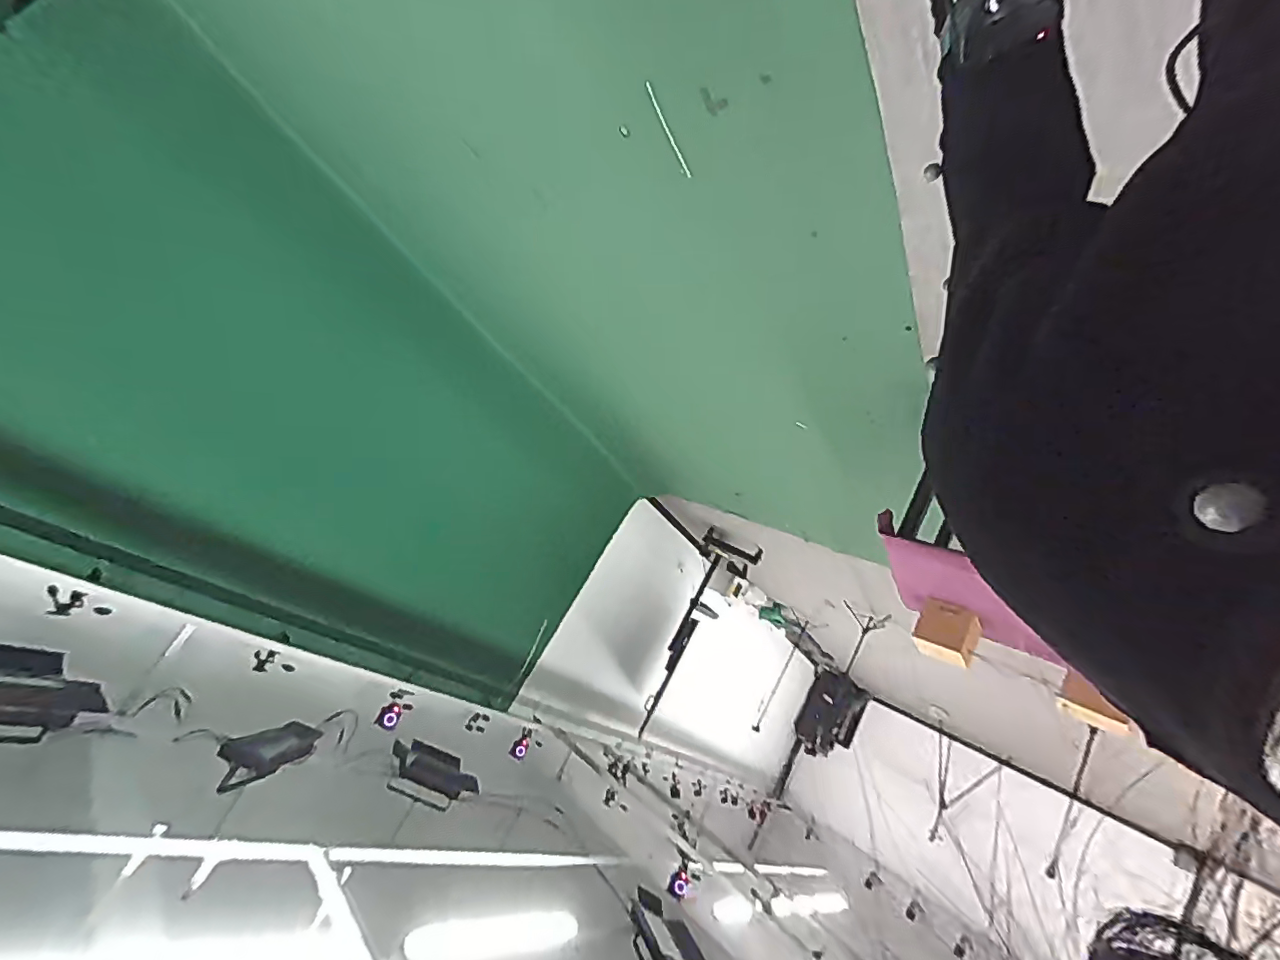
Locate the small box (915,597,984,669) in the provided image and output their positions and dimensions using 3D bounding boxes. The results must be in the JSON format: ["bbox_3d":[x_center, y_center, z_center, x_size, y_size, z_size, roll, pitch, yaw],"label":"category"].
[{"bbox_3d":[1.128,0.553,1.964,0.168,0.176,0.179,13,156,45],"label":"small box"}]

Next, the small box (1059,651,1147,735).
[{"bbox_3d":[1.449,0.663,1.694,0.179,0.176,0.168,17,157,41],"label":"small box"}]
